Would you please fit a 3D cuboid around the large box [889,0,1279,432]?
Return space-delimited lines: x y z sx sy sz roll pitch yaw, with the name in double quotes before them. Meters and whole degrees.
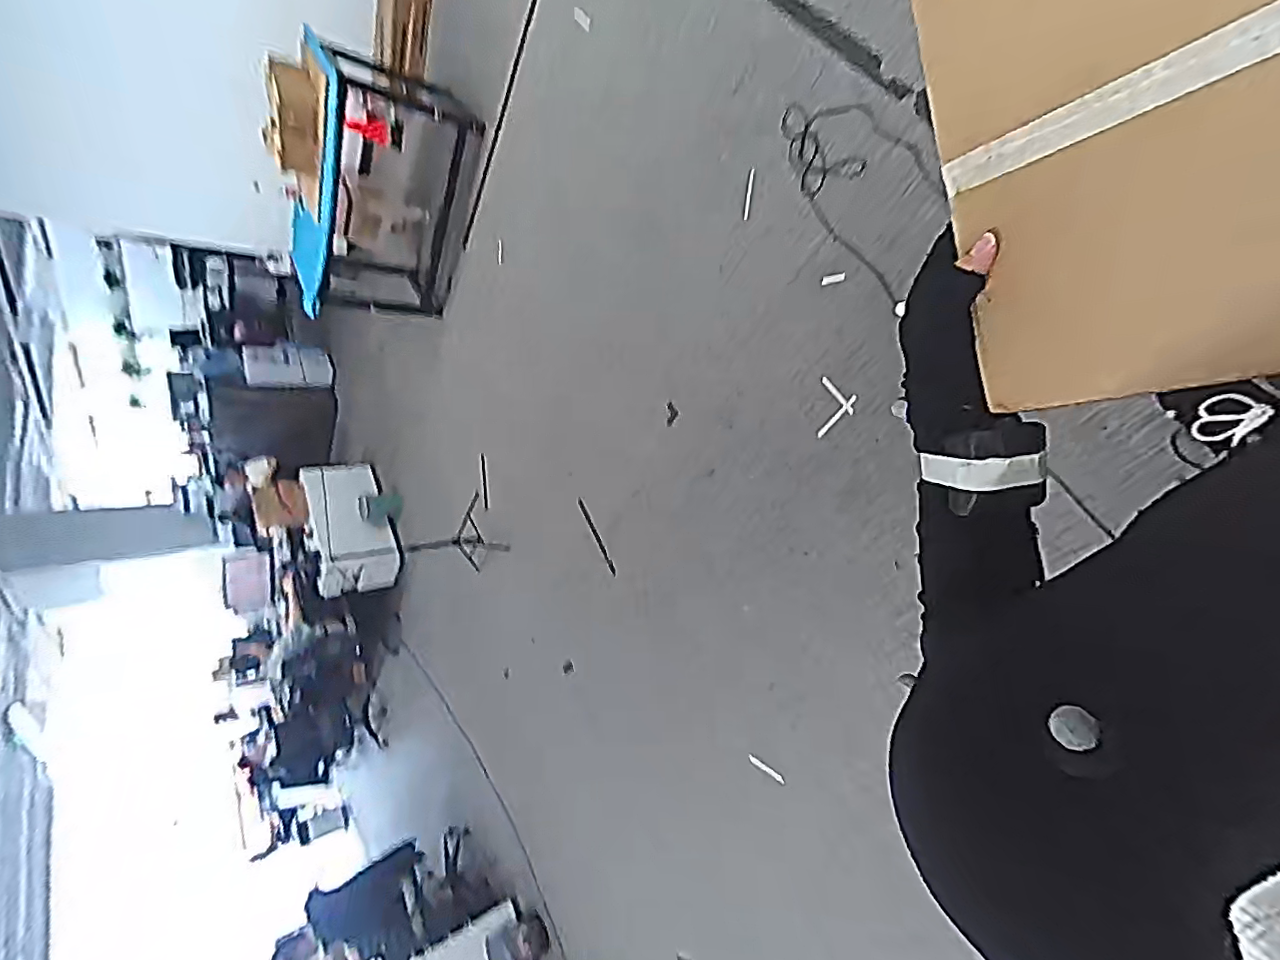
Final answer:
"large box" 0.438 -0.241 0.311 0.408 0.320 0.320 -10 96 51
